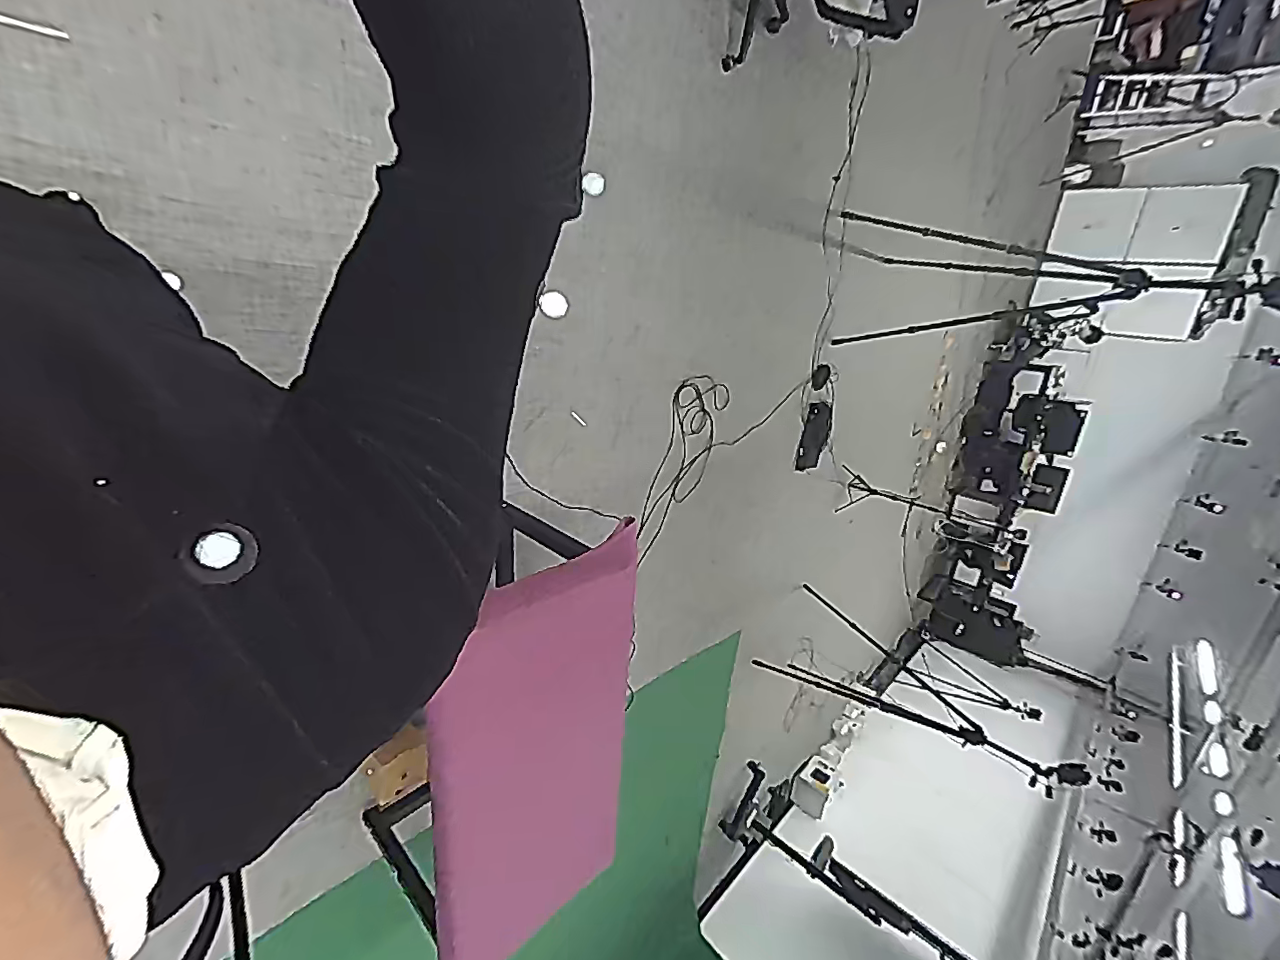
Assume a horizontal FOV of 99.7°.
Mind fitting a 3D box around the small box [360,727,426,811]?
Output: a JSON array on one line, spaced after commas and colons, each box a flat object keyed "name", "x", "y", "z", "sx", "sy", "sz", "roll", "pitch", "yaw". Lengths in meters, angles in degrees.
[{"name": "small box", "x": -0.872, "y": 1.007, "z": 1.906, "sx": 0.168, "sy": 0.176, "sz": 0.179, "roll": -11, "pitch": 114, "yaw": -46}]
